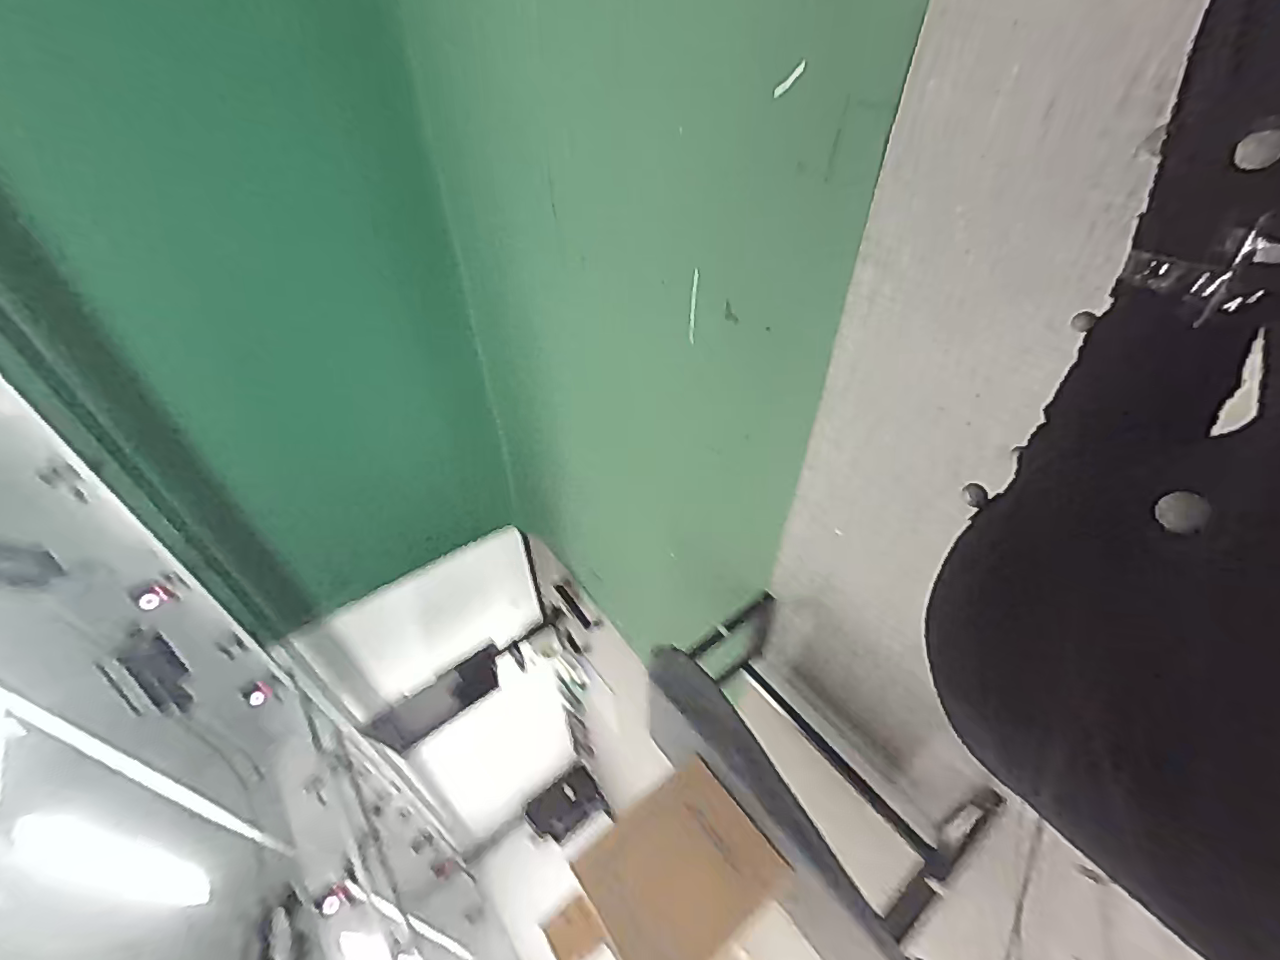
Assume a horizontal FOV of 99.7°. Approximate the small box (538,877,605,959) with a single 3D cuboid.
[{"bbox_3d":[-0.237,1.547,1.901,0.168,0.176,0.179,42,147,39],"label":"small box"}]
